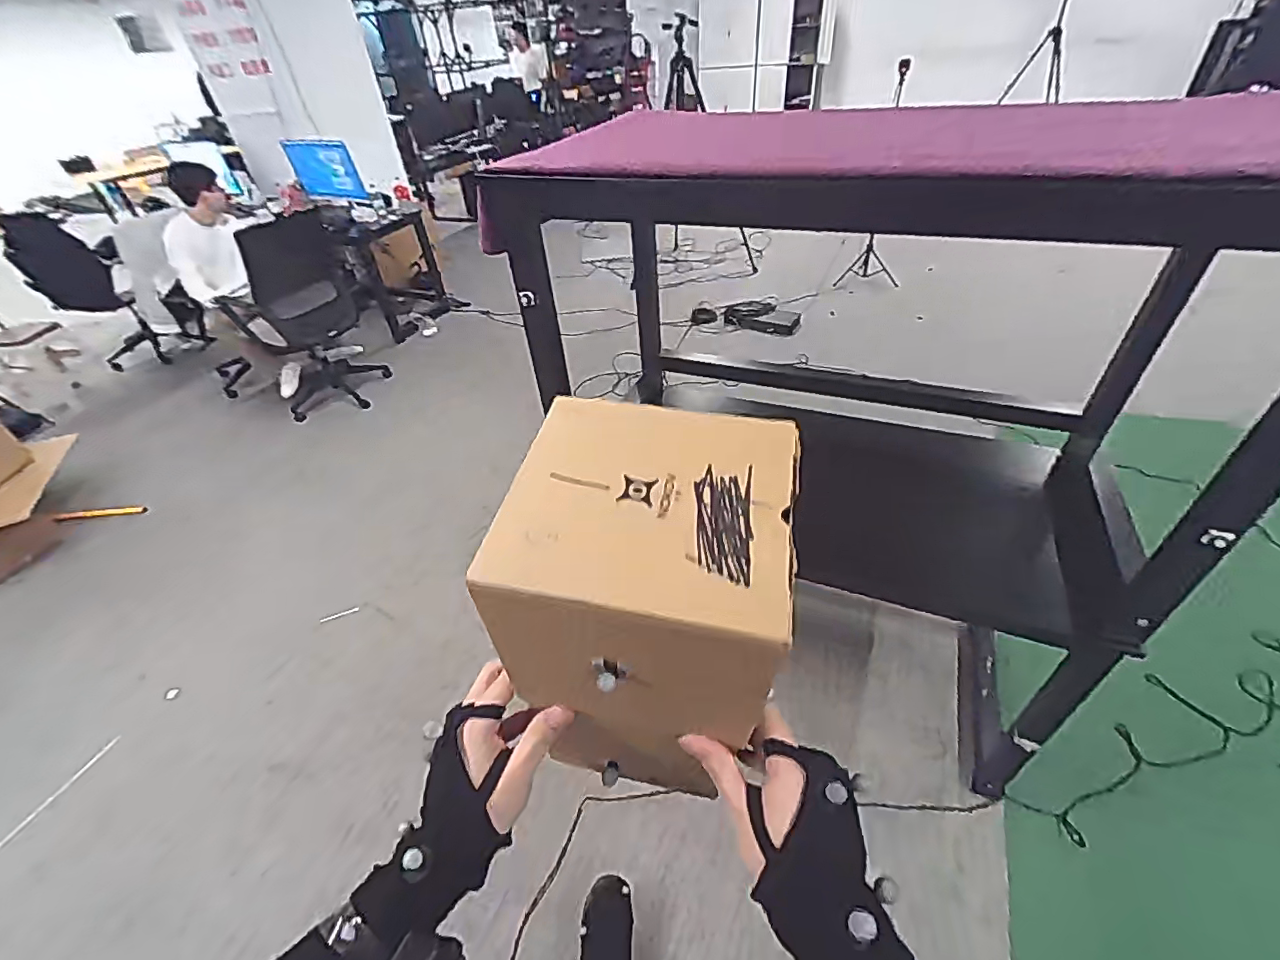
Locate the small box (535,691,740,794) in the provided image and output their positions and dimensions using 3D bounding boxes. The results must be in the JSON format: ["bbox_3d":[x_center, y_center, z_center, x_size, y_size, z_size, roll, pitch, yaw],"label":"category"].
[{"bbox_3d":[0.010,0.168,0.517,0.168,0.176,0.179,9,48,9],"label":"small box"}]

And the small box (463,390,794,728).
[{"bbox_3d":[0.005,0.060,0.393,0.179,0.176,0.168,8,47,10],"label":"small box"}]
